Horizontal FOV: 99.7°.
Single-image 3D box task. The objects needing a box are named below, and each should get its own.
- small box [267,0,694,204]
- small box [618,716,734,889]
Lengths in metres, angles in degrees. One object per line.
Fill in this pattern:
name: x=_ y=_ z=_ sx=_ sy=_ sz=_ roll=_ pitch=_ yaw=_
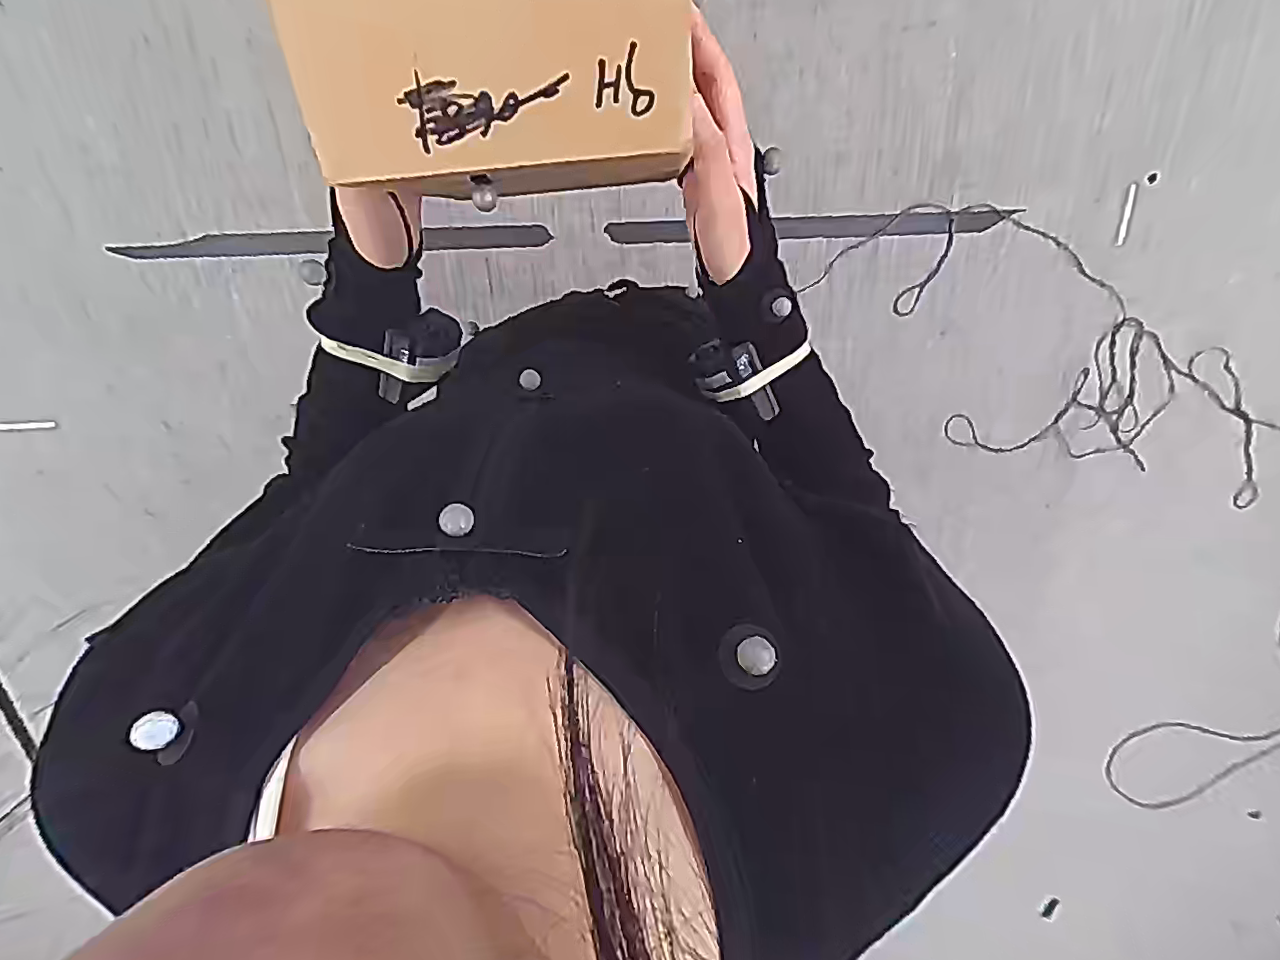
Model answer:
small box: x=-0.062 y=-0.245 z=0.269 sx=0.168 sy=0.176 sz=0.179 roll=-3 pitch=115 yaw=4
small box: x=0.049 y=0.505 z=0.860 sx=0.168 sy=0.176 sz=0.179 roll=-1 pitch=109 yaw=-2
